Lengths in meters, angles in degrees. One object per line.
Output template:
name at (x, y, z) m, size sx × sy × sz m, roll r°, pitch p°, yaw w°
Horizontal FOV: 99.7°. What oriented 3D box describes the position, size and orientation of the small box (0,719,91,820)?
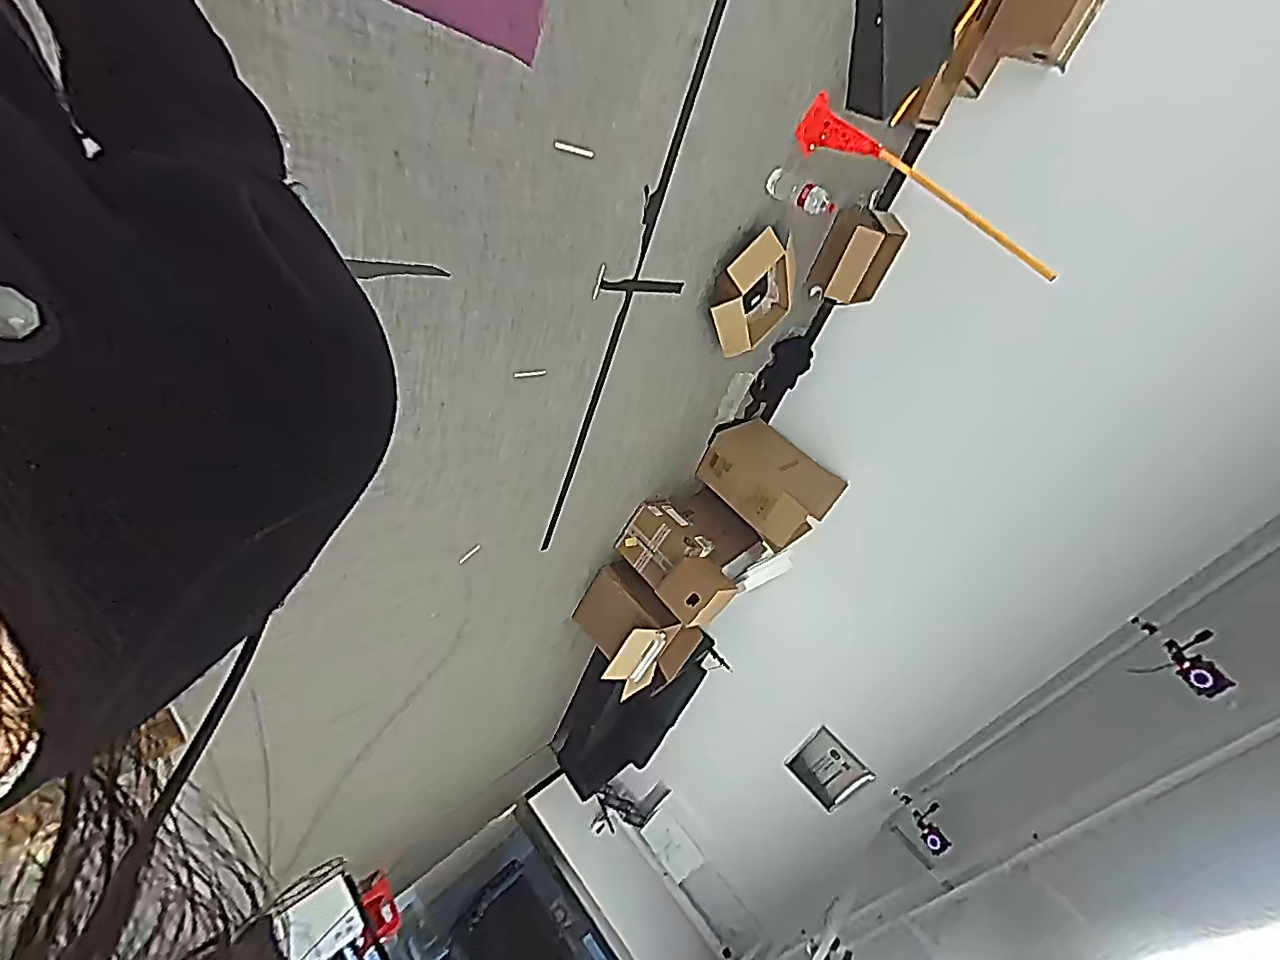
small box at (-1.755, 0.836, 1.574) m, size 0.168 × 0.176 × 0.179 m, roll -25°, pitch 147°, yaw -41°
